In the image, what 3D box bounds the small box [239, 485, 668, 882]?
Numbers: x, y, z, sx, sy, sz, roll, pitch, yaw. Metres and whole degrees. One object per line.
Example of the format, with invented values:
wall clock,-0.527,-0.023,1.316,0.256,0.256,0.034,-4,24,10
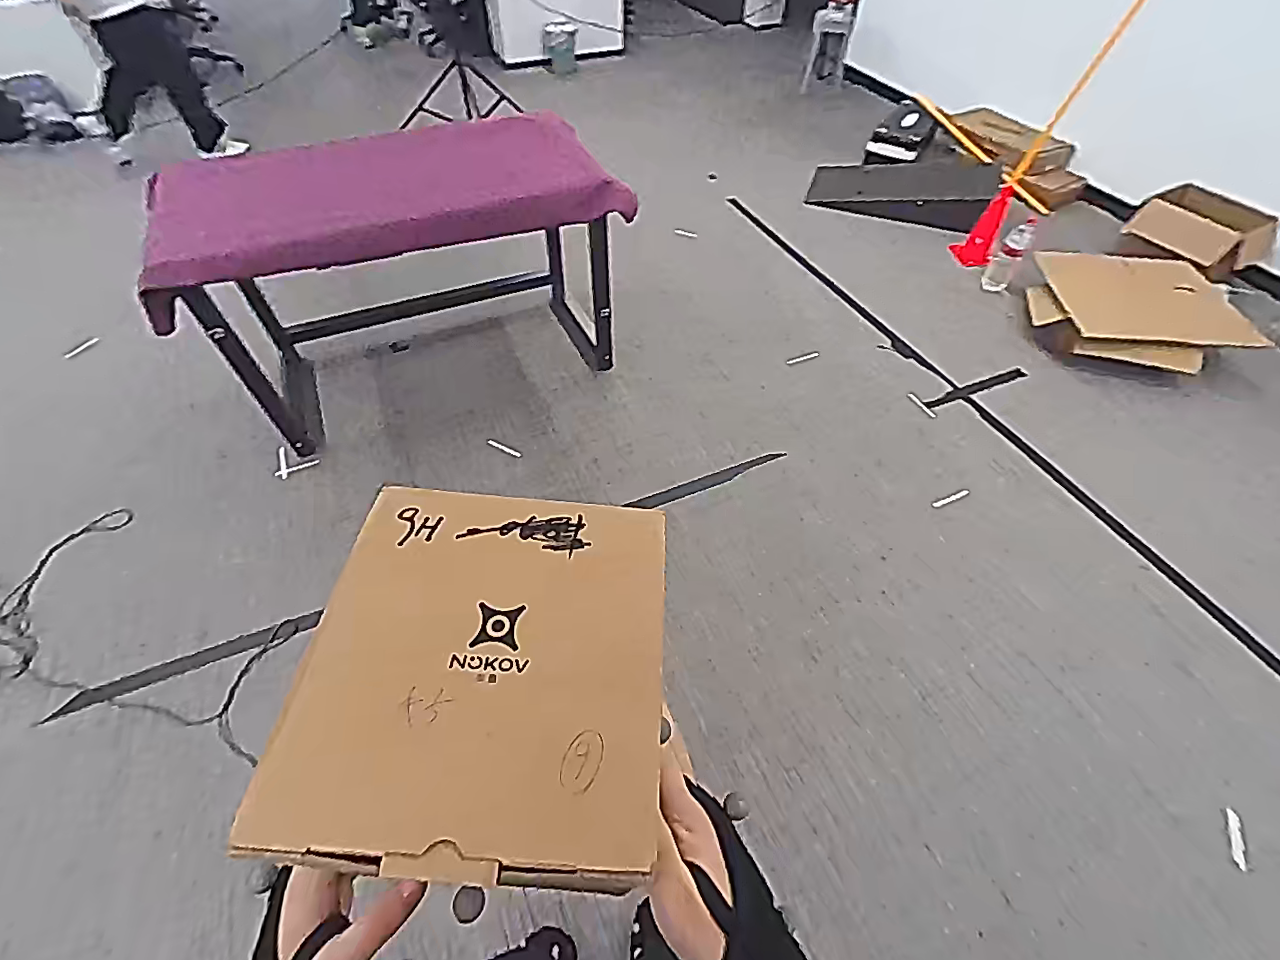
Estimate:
small box,-0.076,0.127,0.323,0.168,0.176,0.179,6,52,-3
